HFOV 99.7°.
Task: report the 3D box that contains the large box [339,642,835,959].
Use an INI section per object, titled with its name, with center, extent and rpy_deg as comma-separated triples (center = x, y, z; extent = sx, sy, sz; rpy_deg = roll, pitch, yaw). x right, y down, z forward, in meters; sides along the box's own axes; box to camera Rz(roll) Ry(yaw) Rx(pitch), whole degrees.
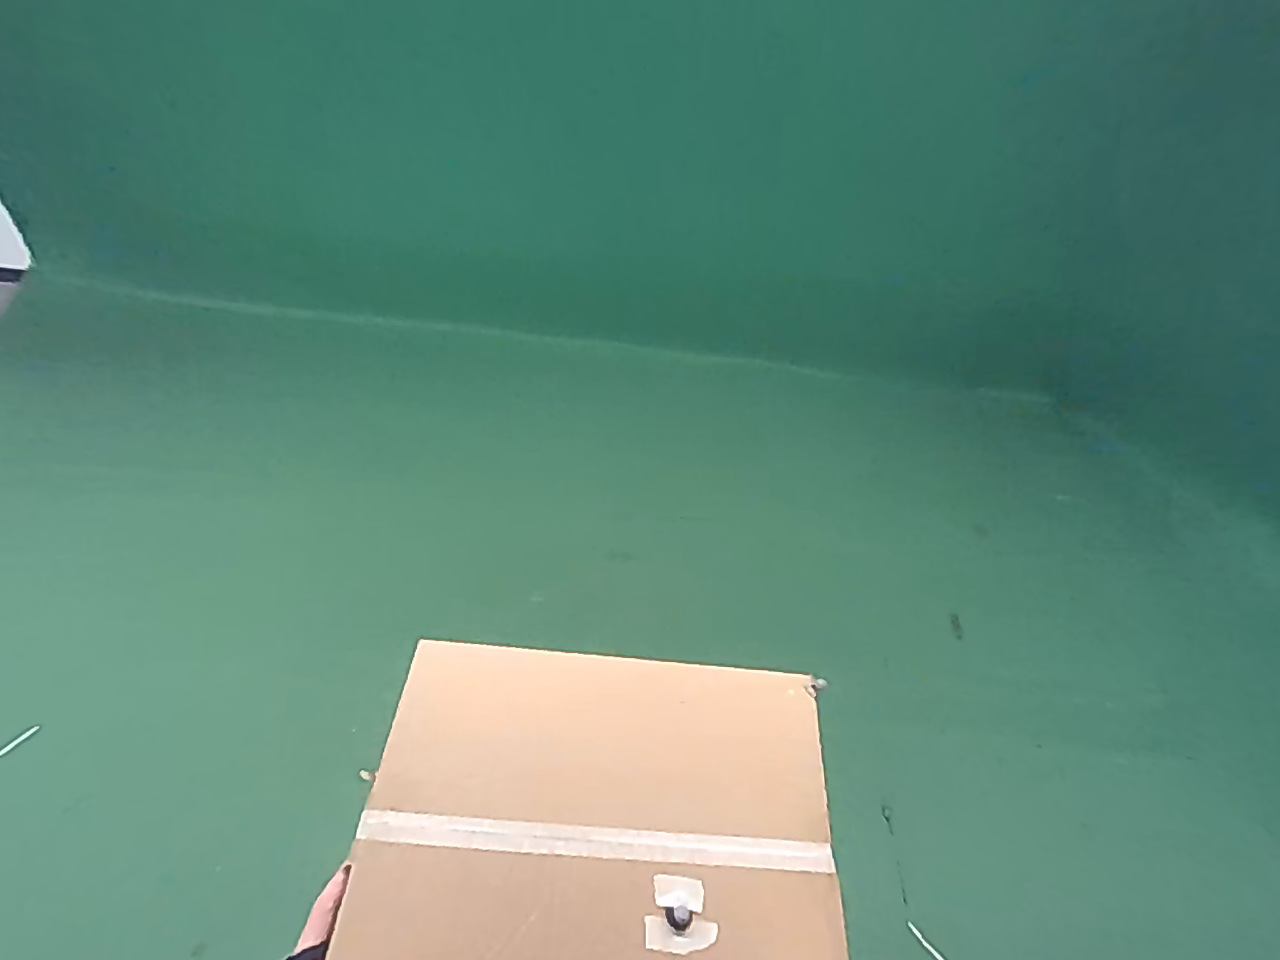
[large box]
center = -0.047, 0.393, 0.602
extent = 0.408, 0.320, 0.320
rpy_deg = 6, 56, -3
